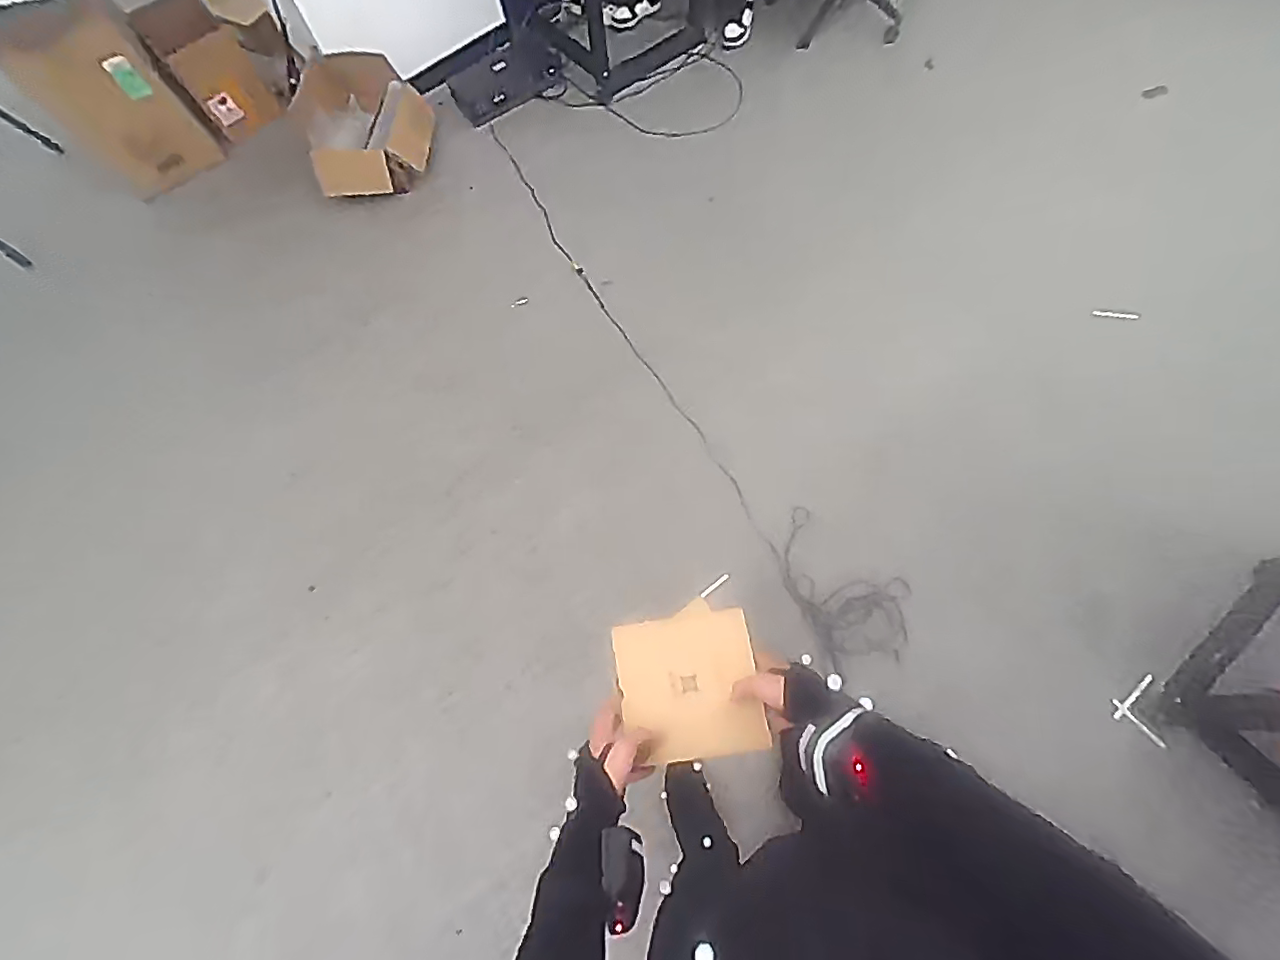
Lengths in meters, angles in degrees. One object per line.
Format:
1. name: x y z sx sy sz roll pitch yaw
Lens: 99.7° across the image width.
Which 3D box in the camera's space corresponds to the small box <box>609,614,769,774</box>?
1. small box: 0.066 0.288 0.723 0.179 0.176 0.168 -10 65 4
